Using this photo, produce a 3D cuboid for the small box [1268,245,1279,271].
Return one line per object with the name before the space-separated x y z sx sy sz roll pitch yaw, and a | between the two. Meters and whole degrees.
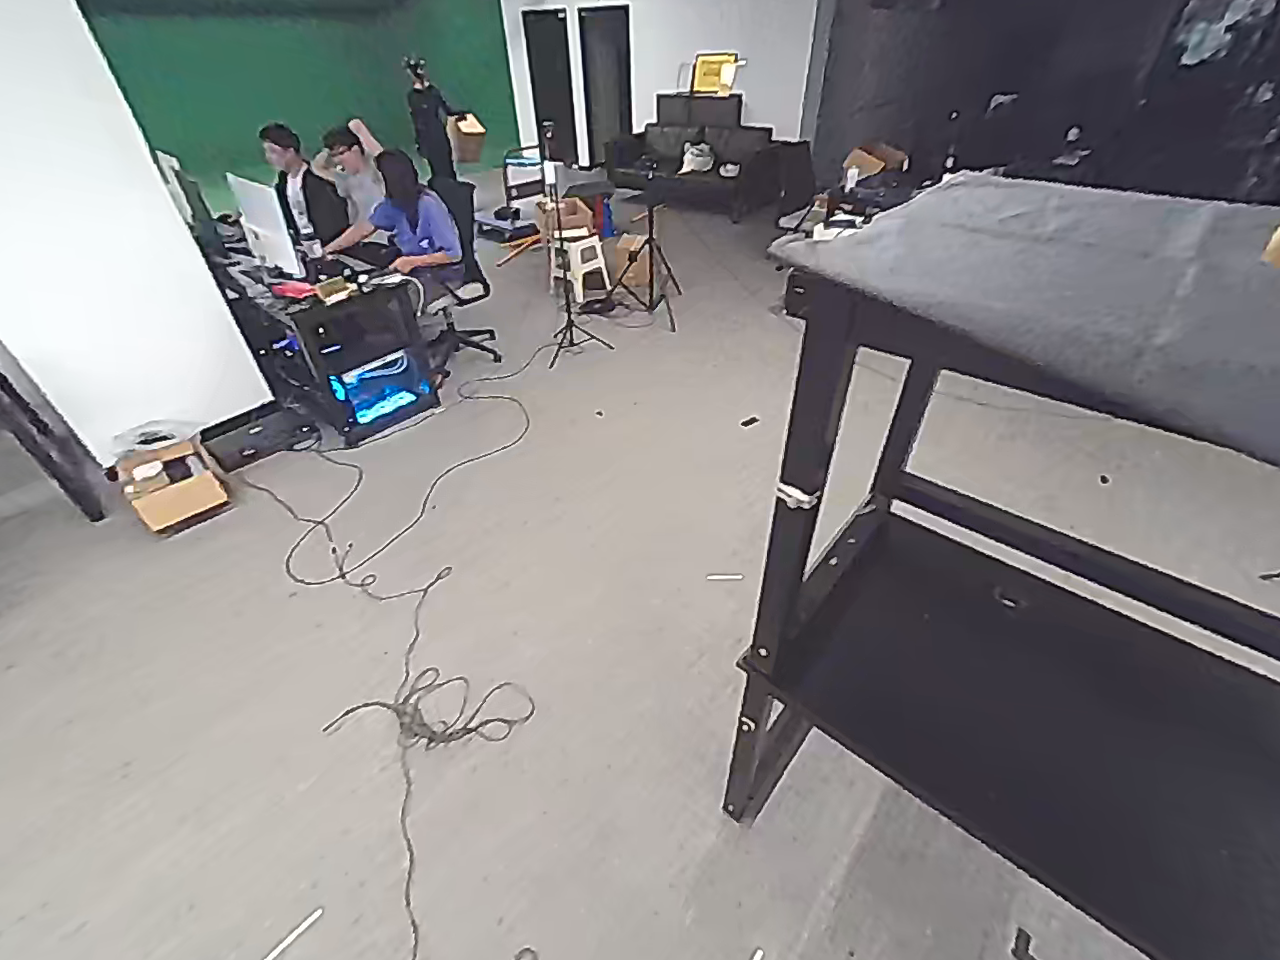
small box | 0.761 -0.277 0.495 0.168 0.176 0.179 -32 48 -31
